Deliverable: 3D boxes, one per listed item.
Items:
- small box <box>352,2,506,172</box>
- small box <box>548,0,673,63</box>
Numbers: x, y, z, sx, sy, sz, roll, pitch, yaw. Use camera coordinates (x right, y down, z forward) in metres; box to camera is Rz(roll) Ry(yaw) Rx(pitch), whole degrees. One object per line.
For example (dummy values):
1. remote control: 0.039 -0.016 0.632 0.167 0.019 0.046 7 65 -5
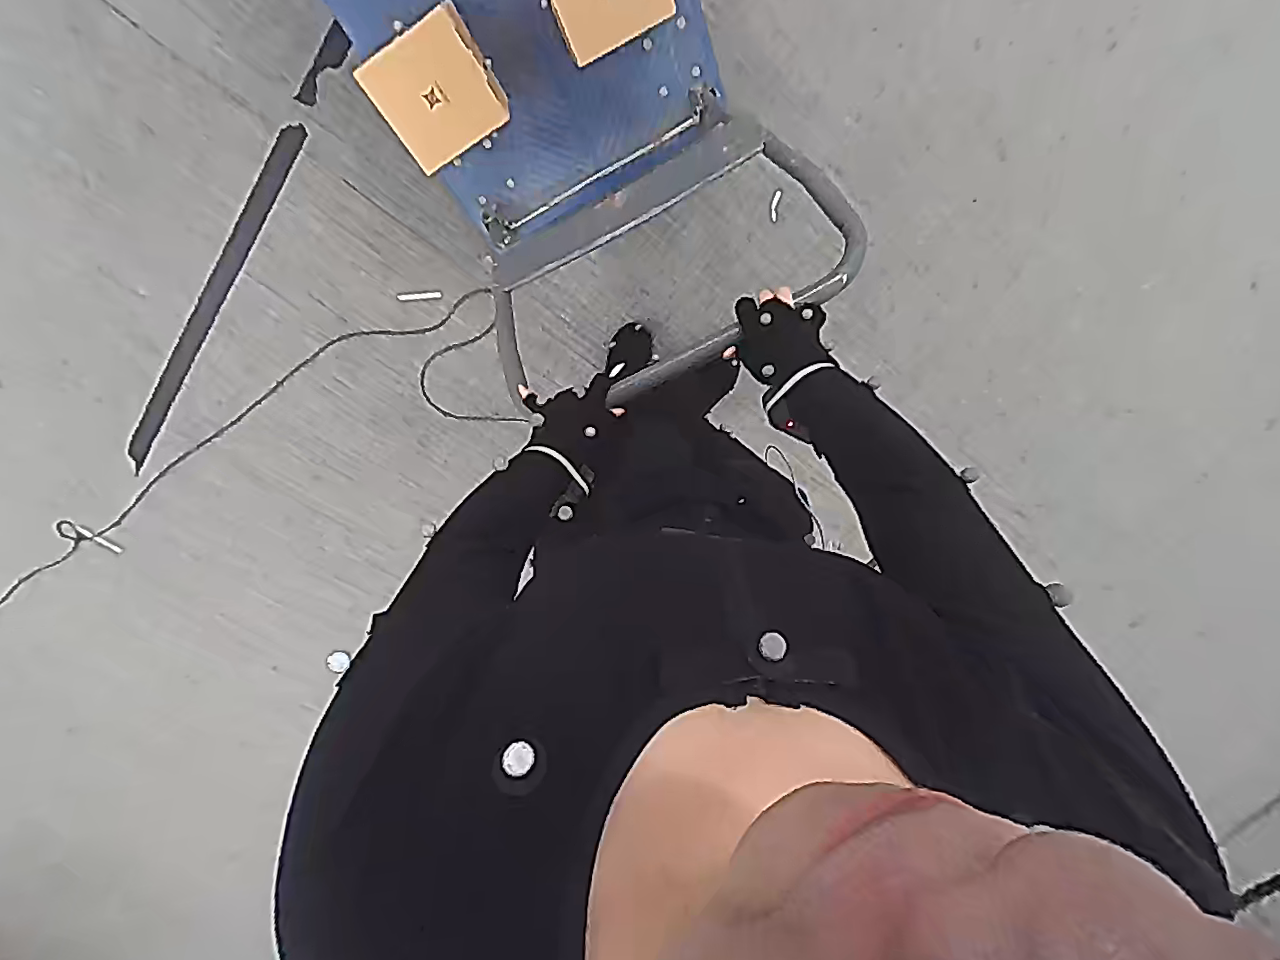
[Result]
1. small box: -0.346 -0.668 0.922 0.179 0.176 0.168 -29 132 11
2. small box: -0.068 -0.806 0.861 0.179 0.176 0.168 -24 134 9
